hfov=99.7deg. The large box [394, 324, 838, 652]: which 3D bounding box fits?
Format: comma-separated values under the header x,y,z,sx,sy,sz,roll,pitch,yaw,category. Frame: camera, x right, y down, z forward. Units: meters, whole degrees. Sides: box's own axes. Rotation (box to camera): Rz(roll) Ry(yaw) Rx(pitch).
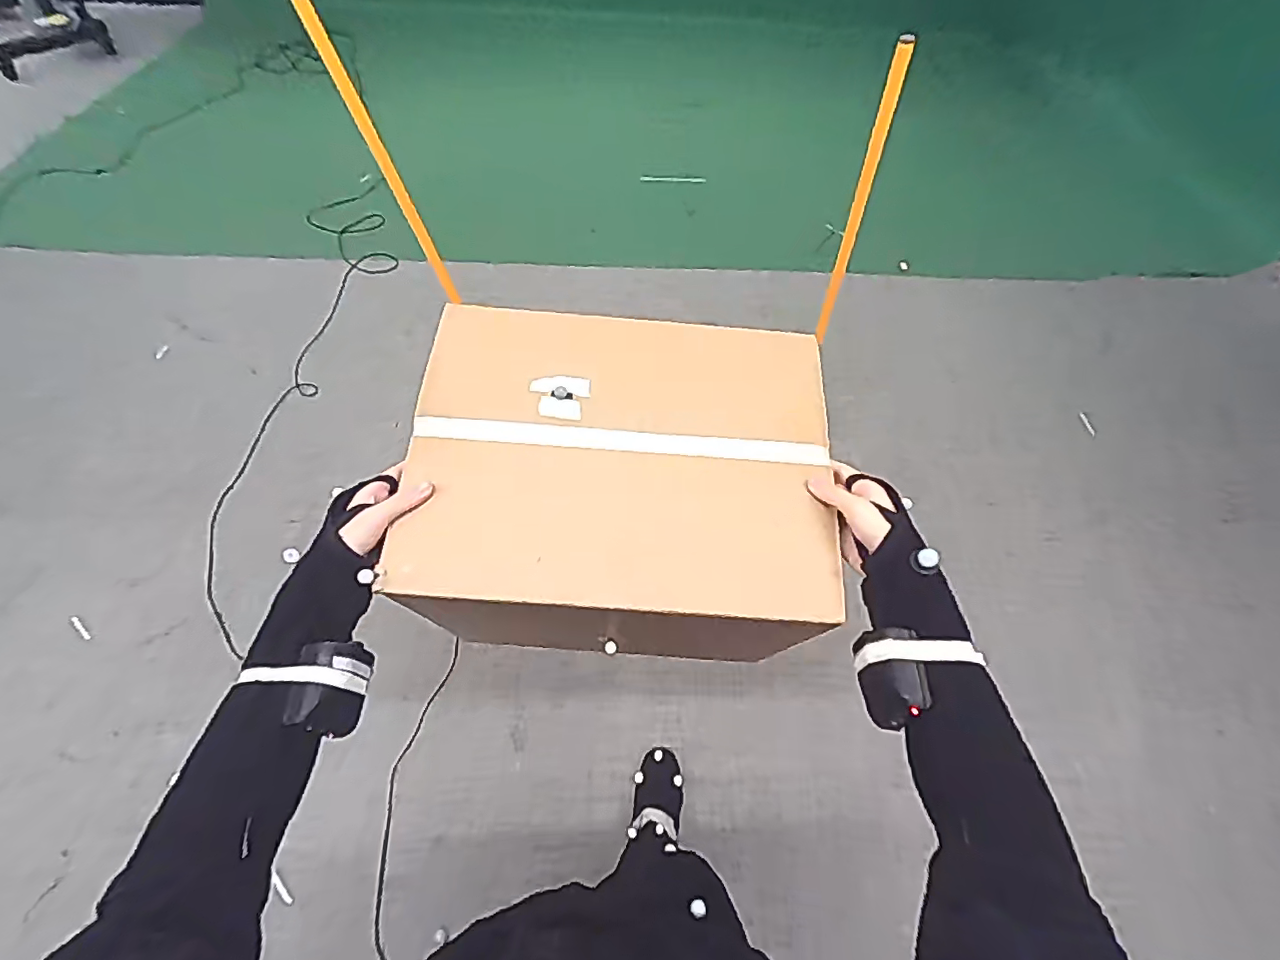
x,y,z,sx,sy,sz,roll,pitch,yaw,category
-0.017,0.035,0.674,0.408,0.320,0.320,4,65,-1,large box
